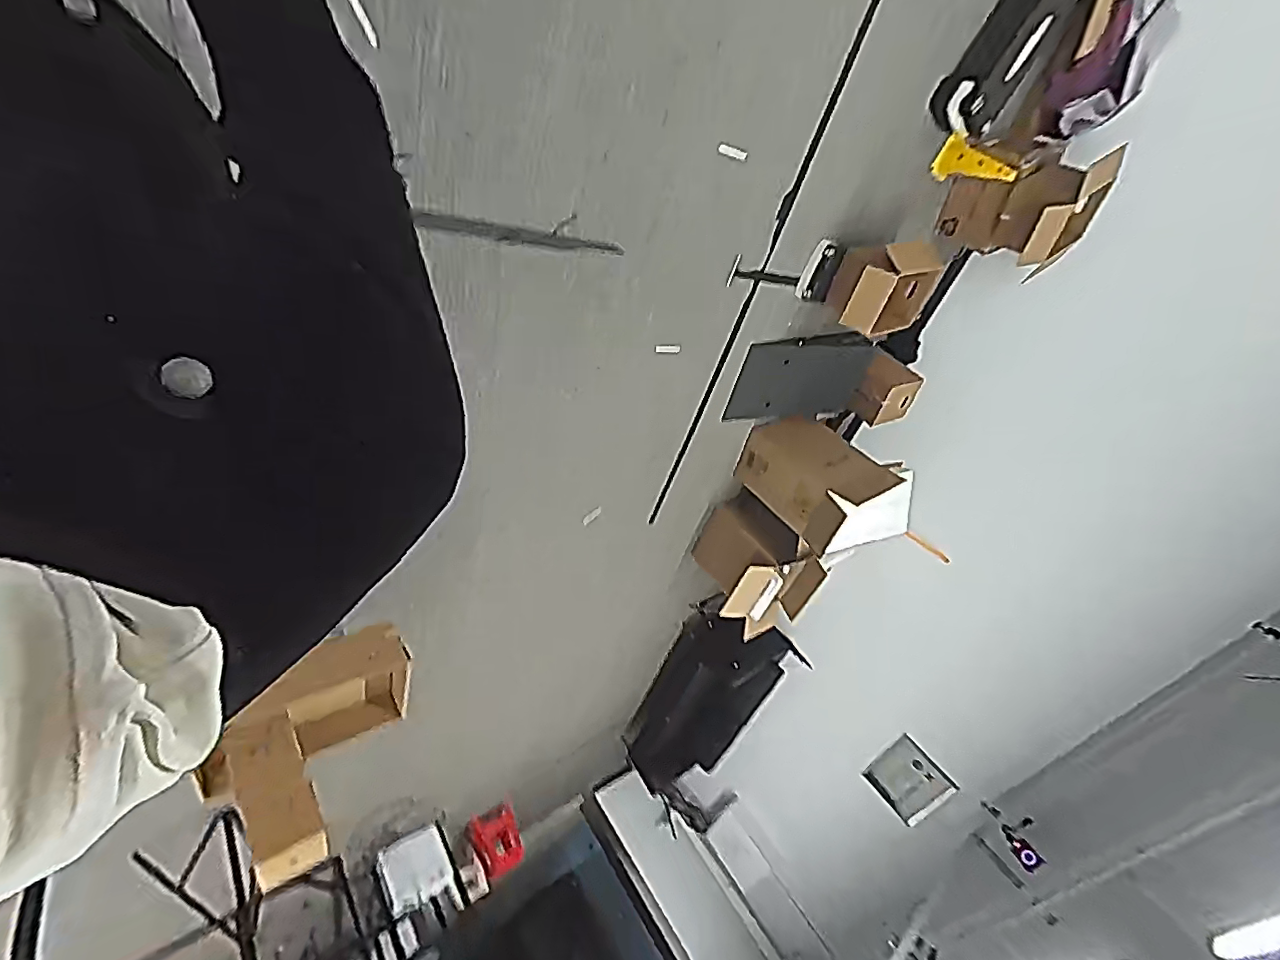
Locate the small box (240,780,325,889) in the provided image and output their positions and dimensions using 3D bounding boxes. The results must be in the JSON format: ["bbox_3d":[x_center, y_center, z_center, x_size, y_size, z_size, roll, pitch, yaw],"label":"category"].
[{"bbox_3d":[-1.004,0.990,1.522,0.168,0.176,0.179,-14,137,-39],"label":"small box"}]
